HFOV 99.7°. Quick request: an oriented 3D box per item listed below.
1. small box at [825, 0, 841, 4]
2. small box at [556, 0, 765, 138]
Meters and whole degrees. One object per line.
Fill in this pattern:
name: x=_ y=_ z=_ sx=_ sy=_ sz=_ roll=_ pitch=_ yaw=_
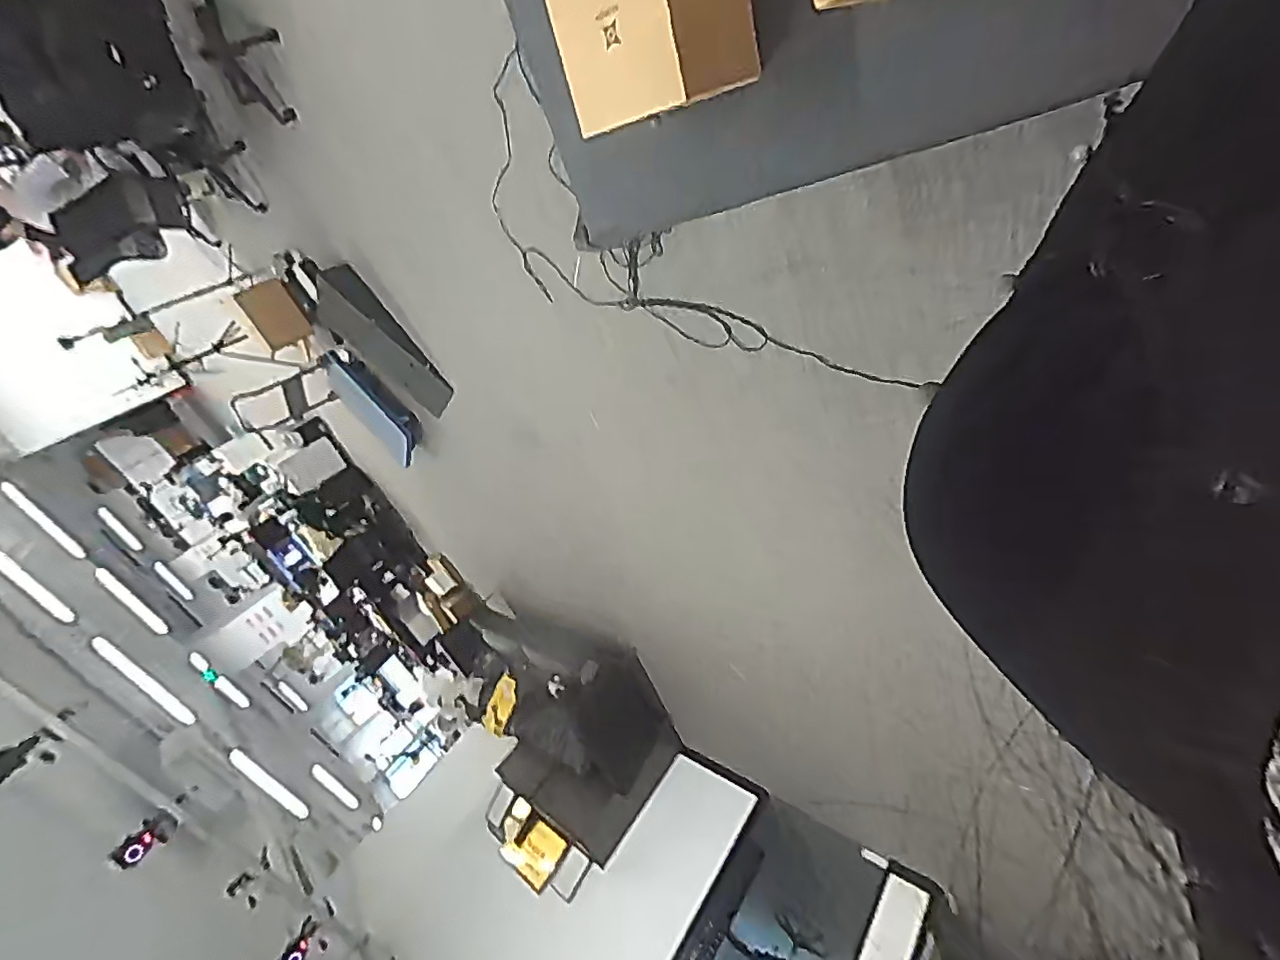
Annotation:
small box: x=0.239 y=-0.516 z=0.418 sx=0.168 sy=0.176 sz=0.179 roll=8 pitch=129 yaw=45
small box: x=0.030 y=-0.536 z=0.635 sx=0.168 sy=0.176 sz=0.179 roll=13 pitch=132 yaw=41
